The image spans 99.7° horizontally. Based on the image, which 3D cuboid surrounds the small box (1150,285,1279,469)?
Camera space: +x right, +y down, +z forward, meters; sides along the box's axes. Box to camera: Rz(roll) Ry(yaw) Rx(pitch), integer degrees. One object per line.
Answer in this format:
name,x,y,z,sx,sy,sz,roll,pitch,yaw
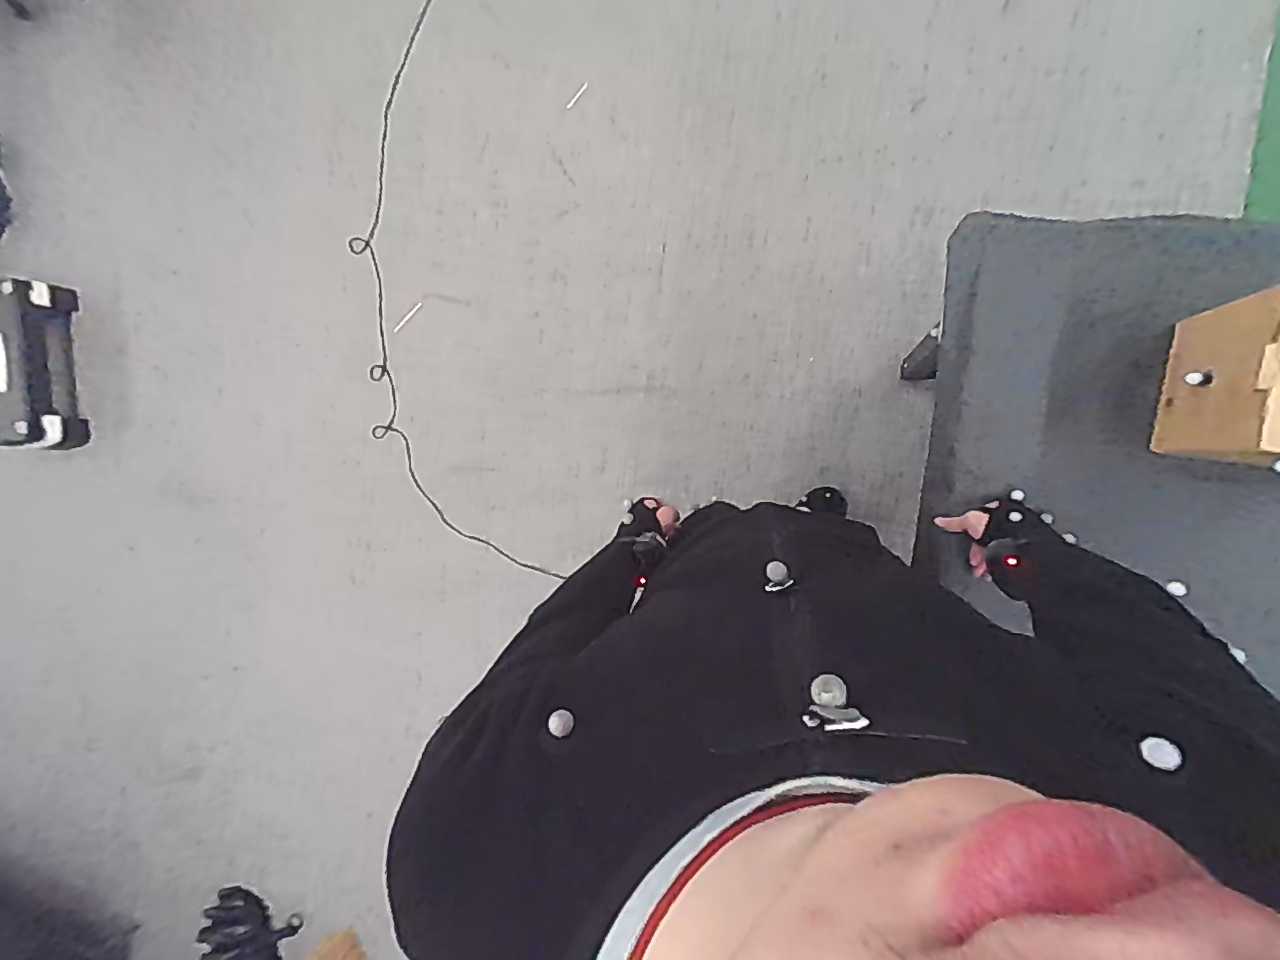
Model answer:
small box,0.710,-0.099,0.582,0.179,0.176,0.168,9,95,16
